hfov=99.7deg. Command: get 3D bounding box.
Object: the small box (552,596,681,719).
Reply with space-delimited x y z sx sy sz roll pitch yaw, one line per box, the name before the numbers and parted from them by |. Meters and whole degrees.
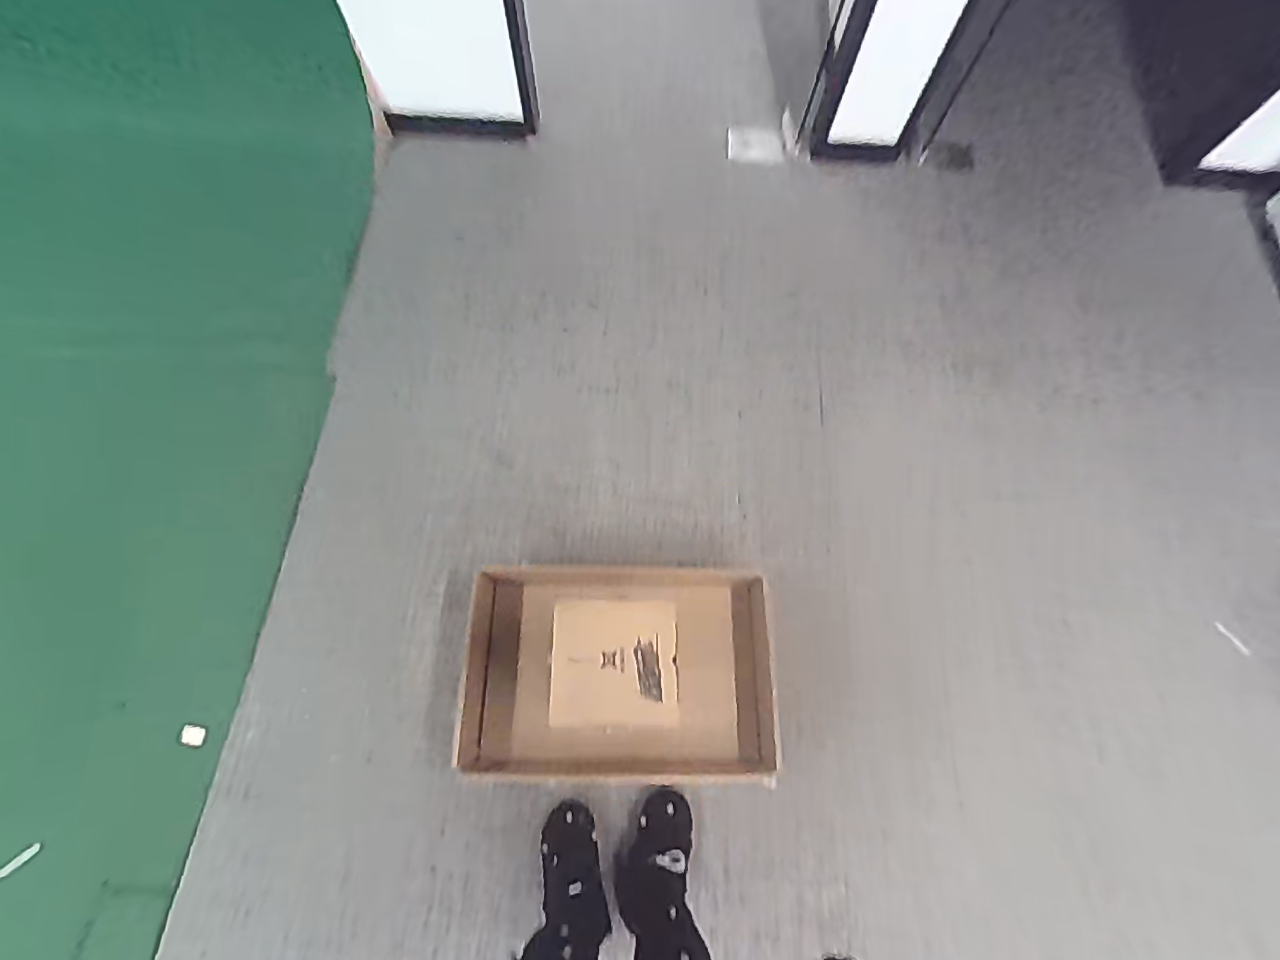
small box | -0.034 0.271 0.829 0.179 0.176 0.168 0 70 -1
